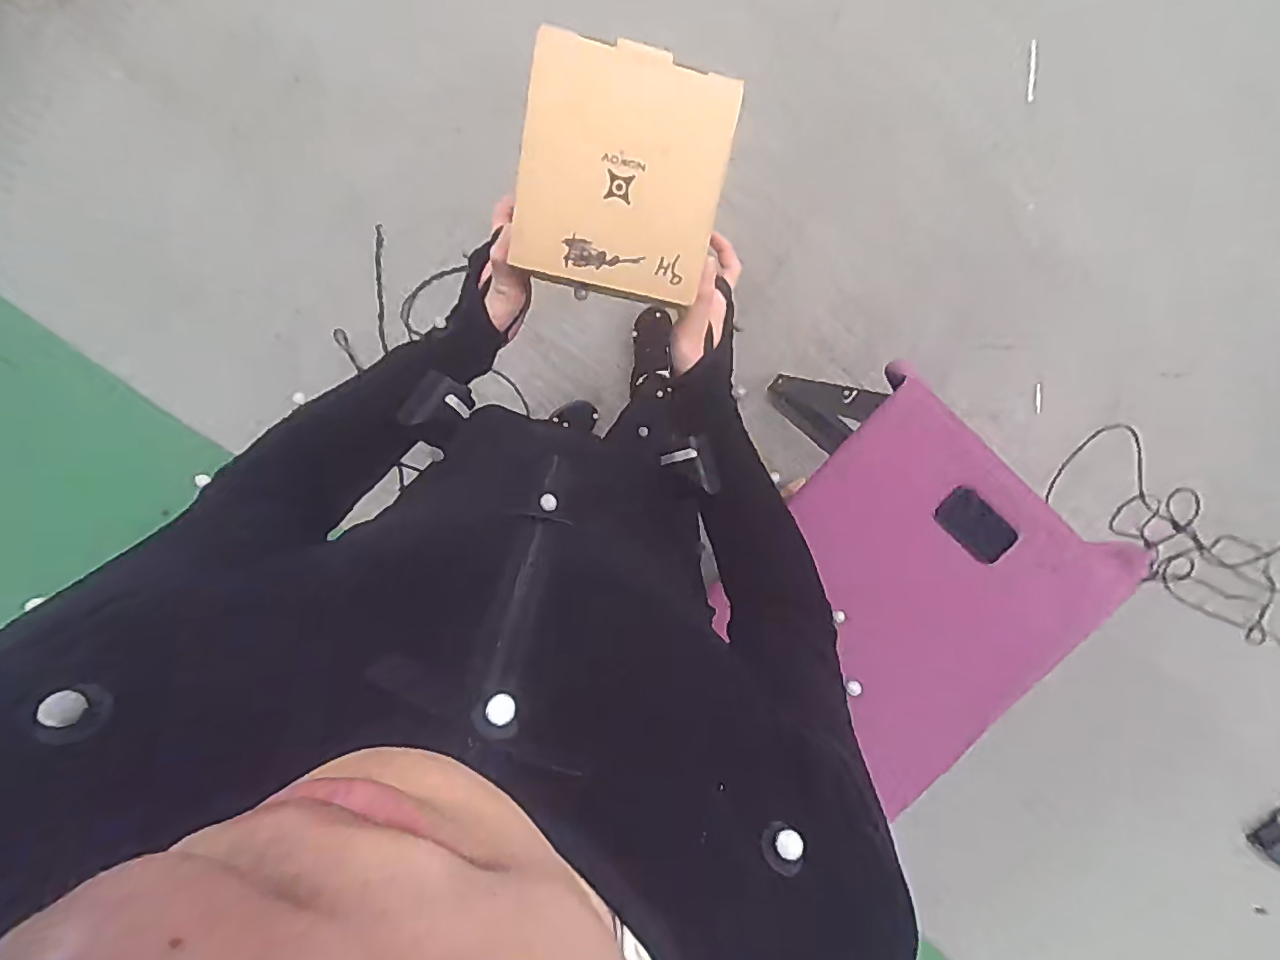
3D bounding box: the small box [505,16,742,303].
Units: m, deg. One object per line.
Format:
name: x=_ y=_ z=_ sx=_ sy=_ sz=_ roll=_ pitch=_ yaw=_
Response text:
small box: x=-0.021 y=-0.274 z=0.512 sx=0.168 sy=0.176 sz=0.179 roll=10 pitch=106 yaw=-6
